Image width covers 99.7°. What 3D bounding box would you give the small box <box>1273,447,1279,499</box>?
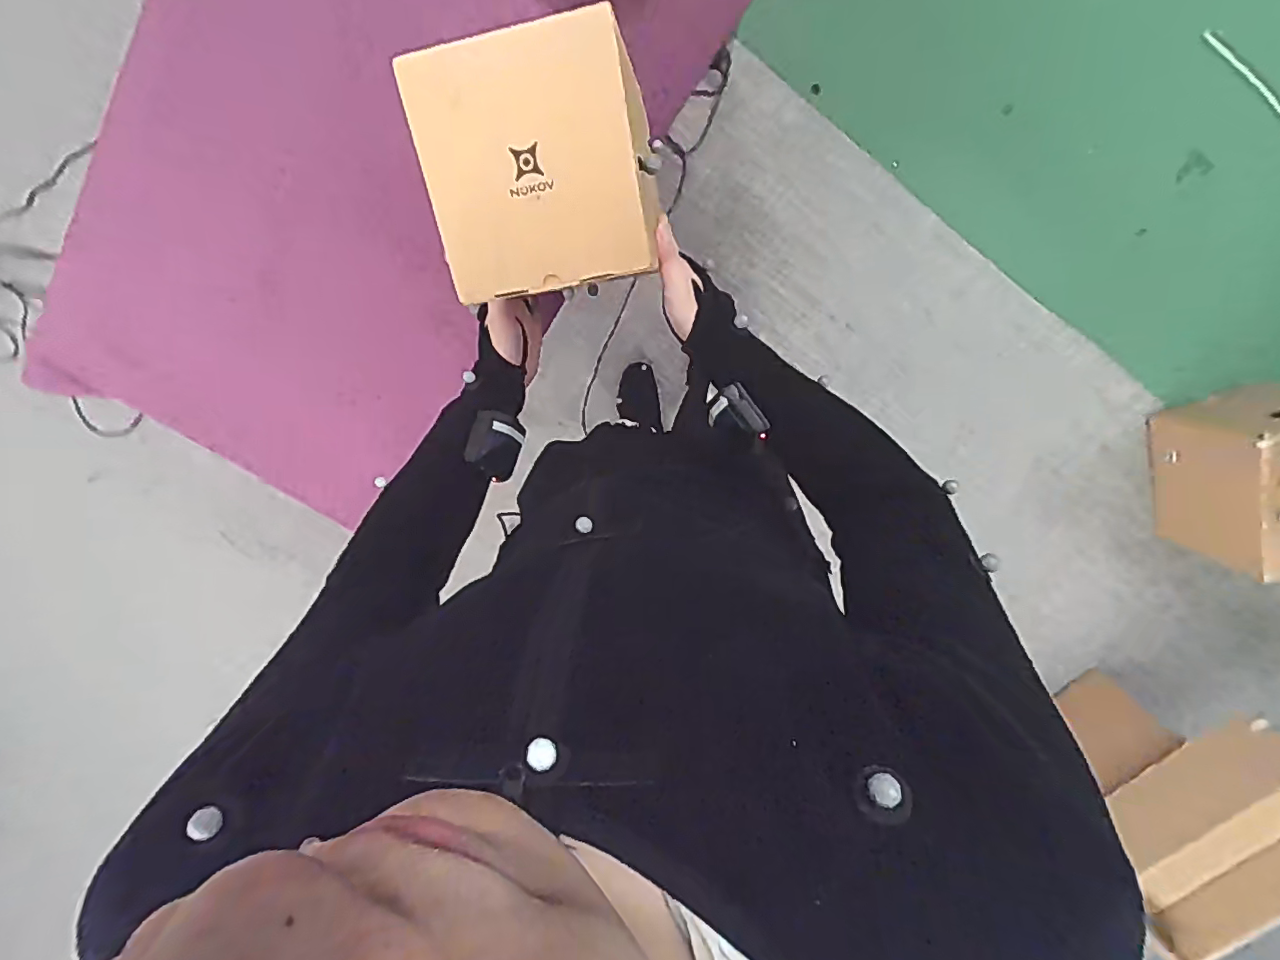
[{"bbox_3d":[1.585,-0.025,1.201,0.179,0.176,0.168,-16,107,5],"label":"small box"}]

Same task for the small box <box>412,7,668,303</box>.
[{"bbox_3d":[-0.067,-0.266,0.483,0.168,0.176,0.179,-7,112,8],"label":"small box"}]
